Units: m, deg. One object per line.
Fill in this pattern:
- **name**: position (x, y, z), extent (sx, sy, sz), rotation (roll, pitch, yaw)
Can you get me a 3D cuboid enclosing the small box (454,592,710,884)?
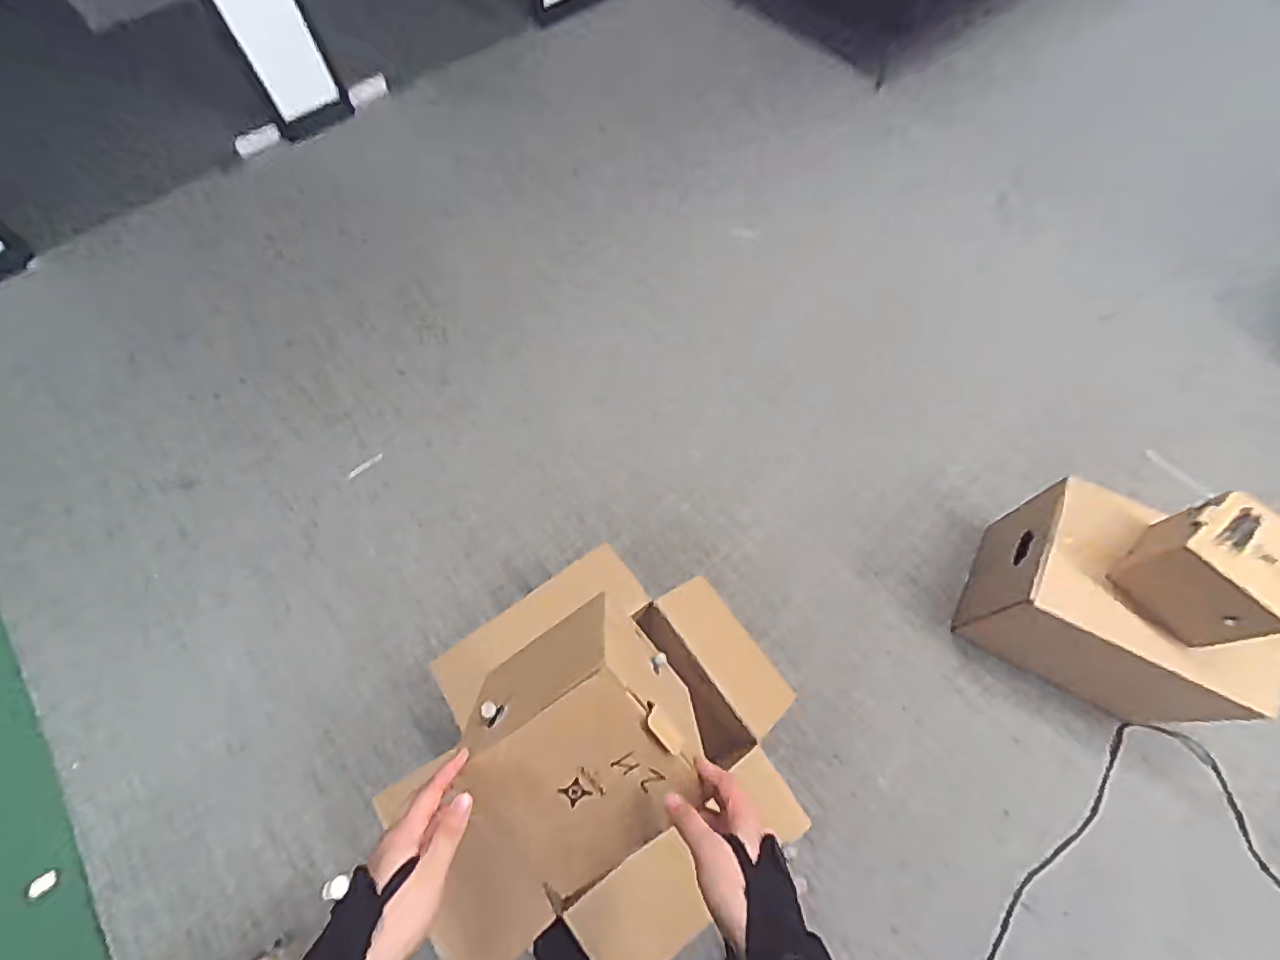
- **small box**: position (-0.055, 0.250, 0.564), extent (0.179, 0.176, 0.168), rotation (-37, 101, 2)
